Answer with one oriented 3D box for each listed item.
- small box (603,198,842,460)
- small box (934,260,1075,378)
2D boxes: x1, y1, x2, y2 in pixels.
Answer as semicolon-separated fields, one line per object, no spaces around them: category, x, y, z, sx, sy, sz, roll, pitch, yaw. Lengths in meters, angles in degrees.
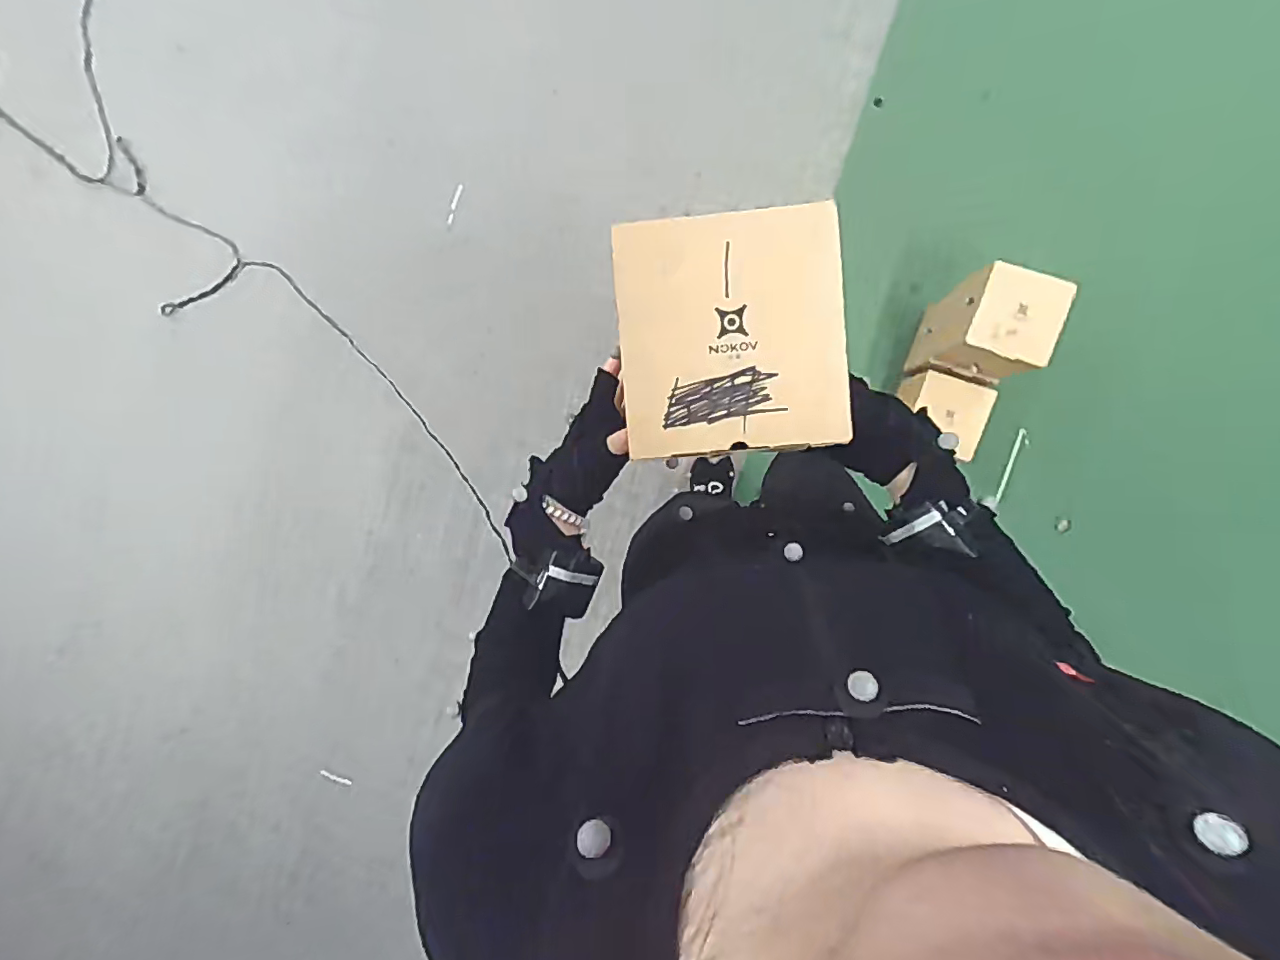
small box;0.066;-0.115;0.477;0.168;0.176;0.179;-6;93;3
small box;0.768;-0.336;1.161;0.168;0.176;0.179;20;94;5
